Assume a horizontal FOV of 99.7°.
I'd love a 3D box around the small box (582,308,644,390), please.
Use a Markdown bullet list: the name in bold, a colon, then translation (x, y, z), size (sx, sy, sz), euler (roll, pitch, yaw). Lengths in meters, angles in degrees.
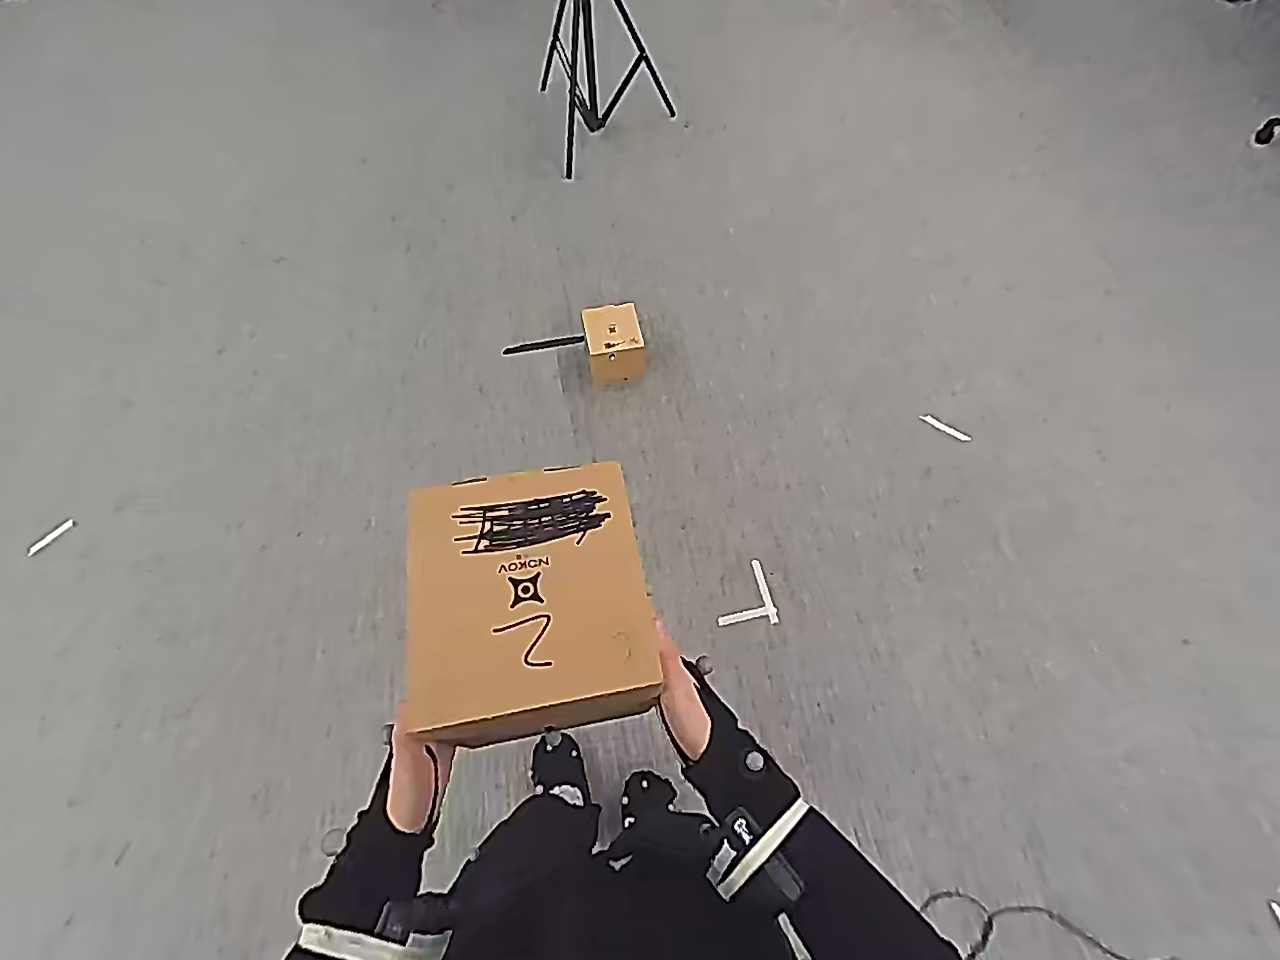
- **small box**: translation (-0.086, -0.409, 1.697), size (0.168, 0.176, 0.179), euler (-11, 64, -6)
